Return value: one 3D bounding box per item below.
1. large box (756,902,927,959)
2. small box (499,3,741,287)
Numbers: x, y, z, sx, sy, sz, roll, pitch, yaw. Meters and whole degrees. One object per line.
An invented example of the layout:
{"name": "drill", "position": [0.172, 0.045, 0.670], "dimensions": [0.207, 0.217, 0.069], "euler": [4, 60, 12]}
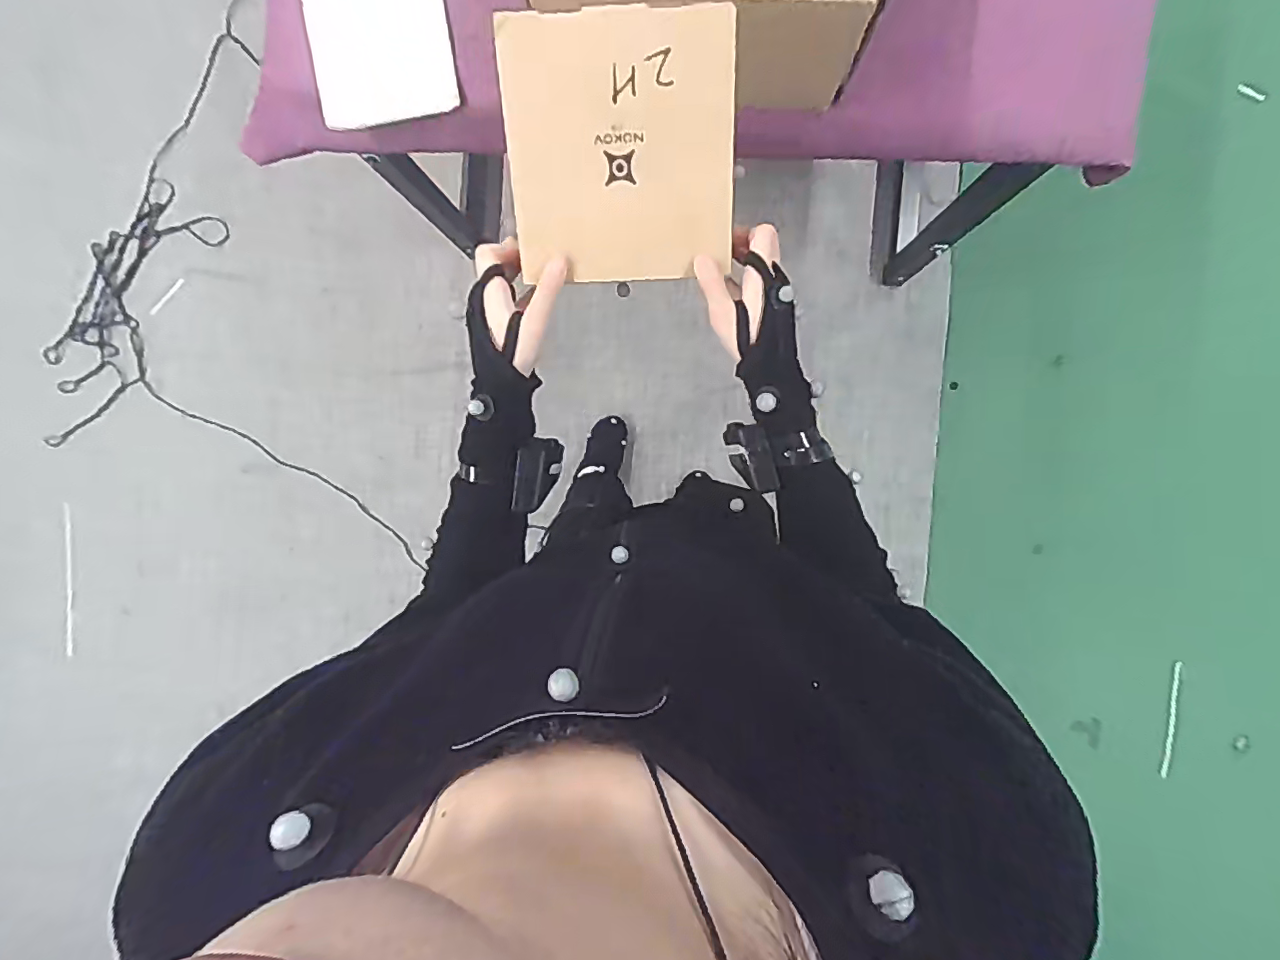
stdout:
{"name": "large box", "position": [0.542, 1.365, 1.376], "dimensions": [0.408, 0.320, 0.320], "euler": [-11, 93, 4]}
{"name": "small box", "position": [-0.012, -0.265, 0.466], "dimensions": [0.168, 0.176, 0.179], "euler": [-2, 111, 0]}
